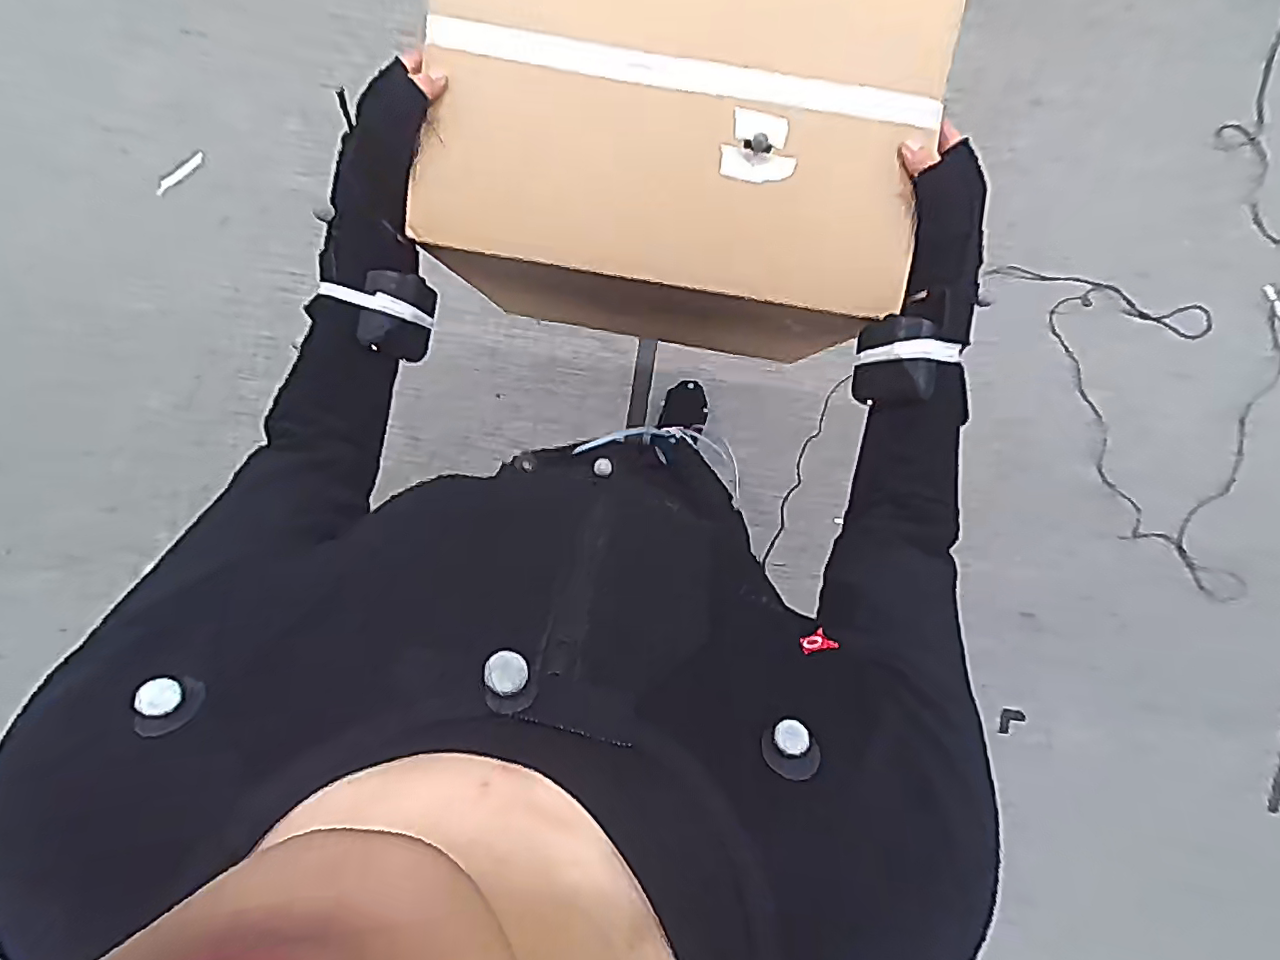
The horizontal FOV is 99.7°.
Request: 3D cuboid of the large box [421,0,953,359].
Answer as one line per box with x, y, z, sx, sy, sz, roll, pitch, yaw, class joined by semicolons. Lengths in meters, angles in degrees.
0.034;-0.329;0.581;0.408;0.320;0.320;10;97;-1;large box
